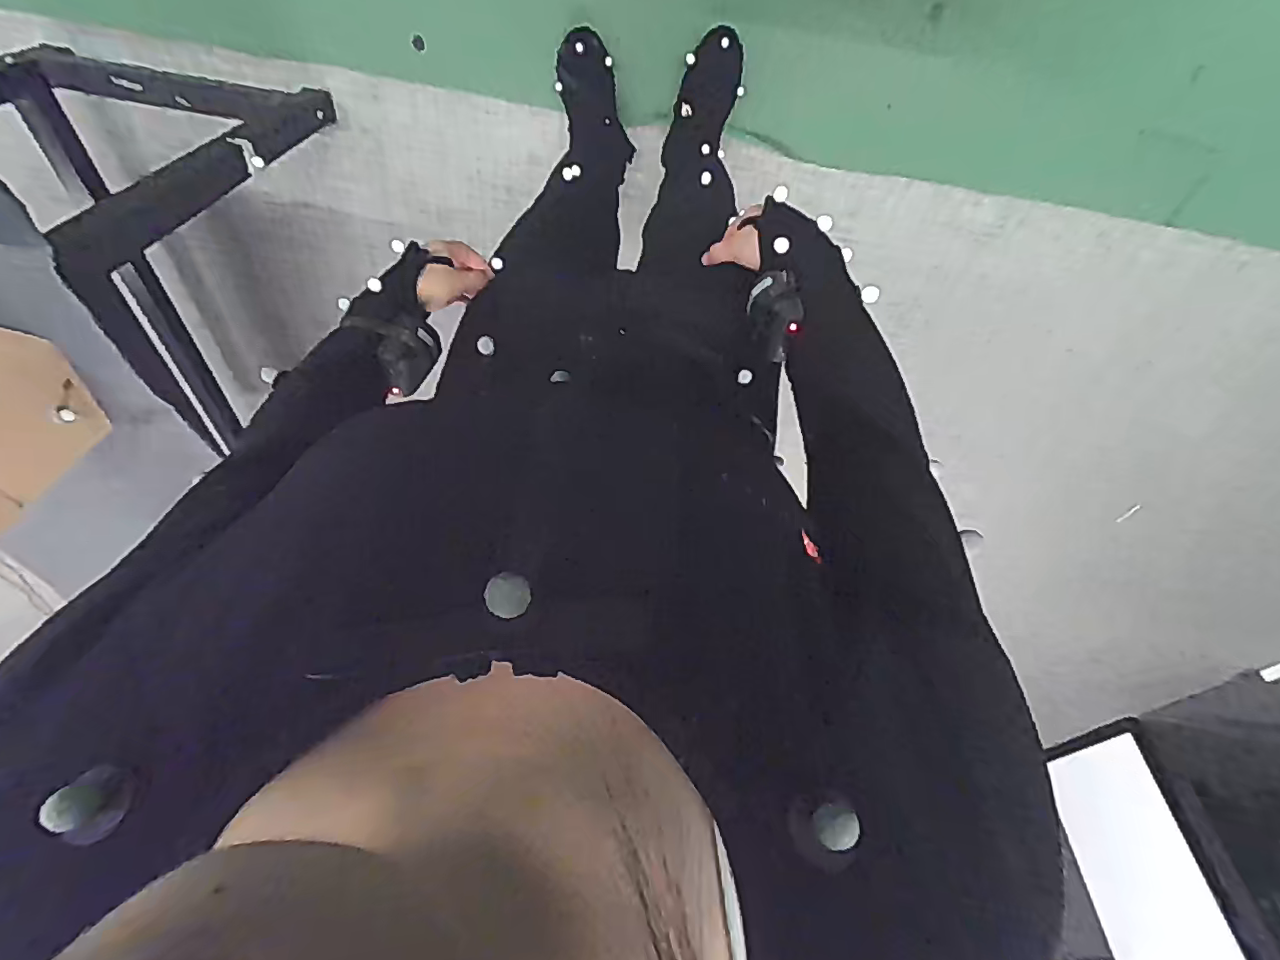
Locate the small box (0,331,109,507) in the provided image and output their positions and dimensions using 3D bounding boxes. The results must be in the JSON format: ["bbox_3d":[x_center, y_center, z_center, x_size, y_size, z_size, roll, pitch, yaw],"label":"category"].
[{"bbox_3d":[-0.875,-0.090,0.703,0.179,0.176,0.168,13,139,-7],"label":"small box"}]
